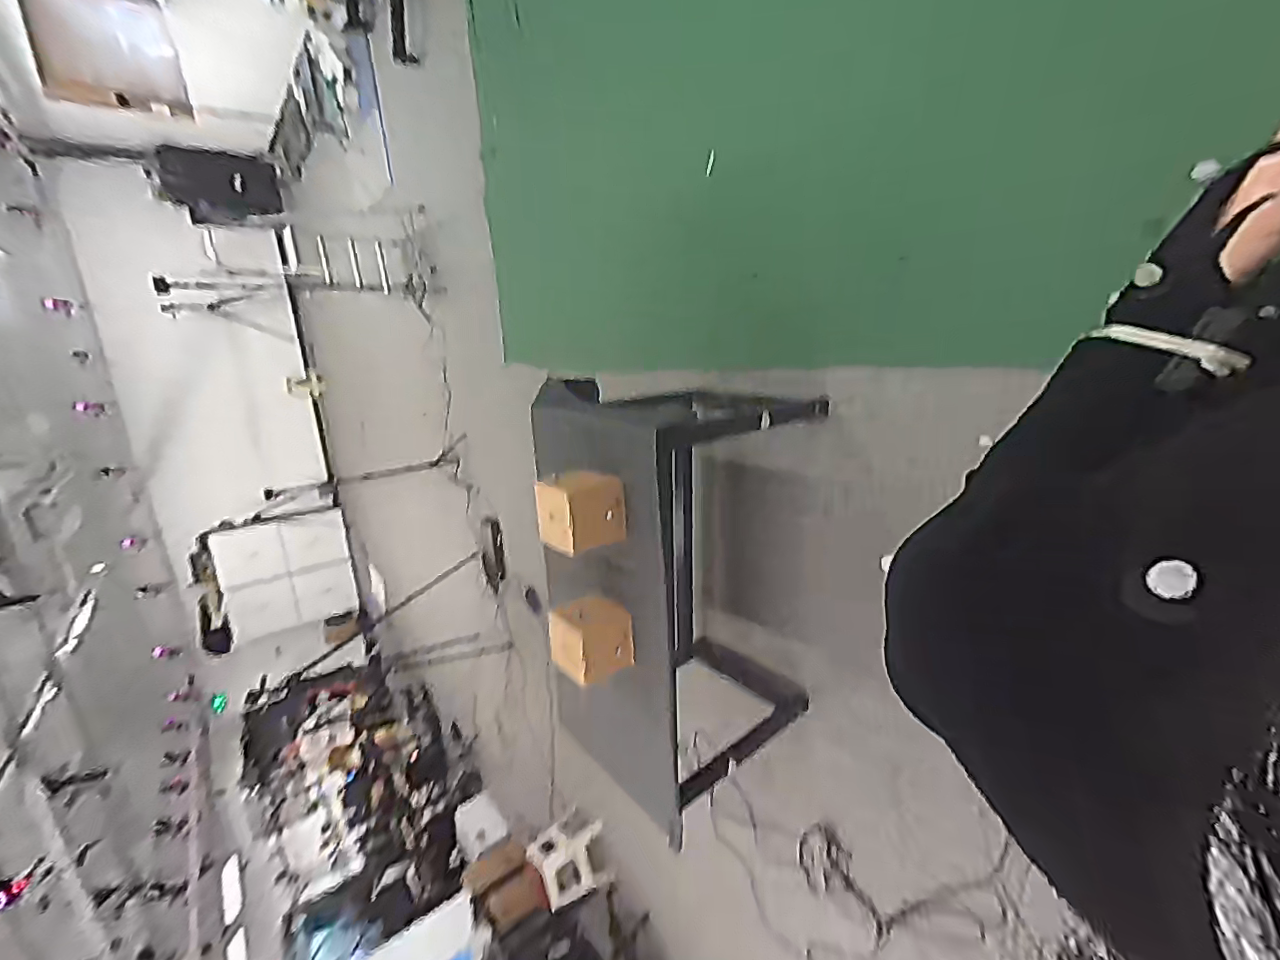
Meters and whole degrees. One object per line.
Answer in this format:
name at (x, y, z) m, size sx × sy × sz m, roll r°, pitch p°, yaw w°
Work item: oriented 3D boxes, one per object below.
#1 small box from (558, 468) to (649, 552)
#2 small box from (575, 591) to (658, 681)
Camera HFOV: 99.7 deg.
small box at (-0.096, 0.071, 1.437) m, size 0.179 × 0.176 × 0.168 m, roll 15°, pitch 115°, yaw 52°
small box at (-0.067, 0.434, 1.539) m, size 0.179 × 0.176 × 0.168 m, roll 17°, pitch 115°, yaw 51°
